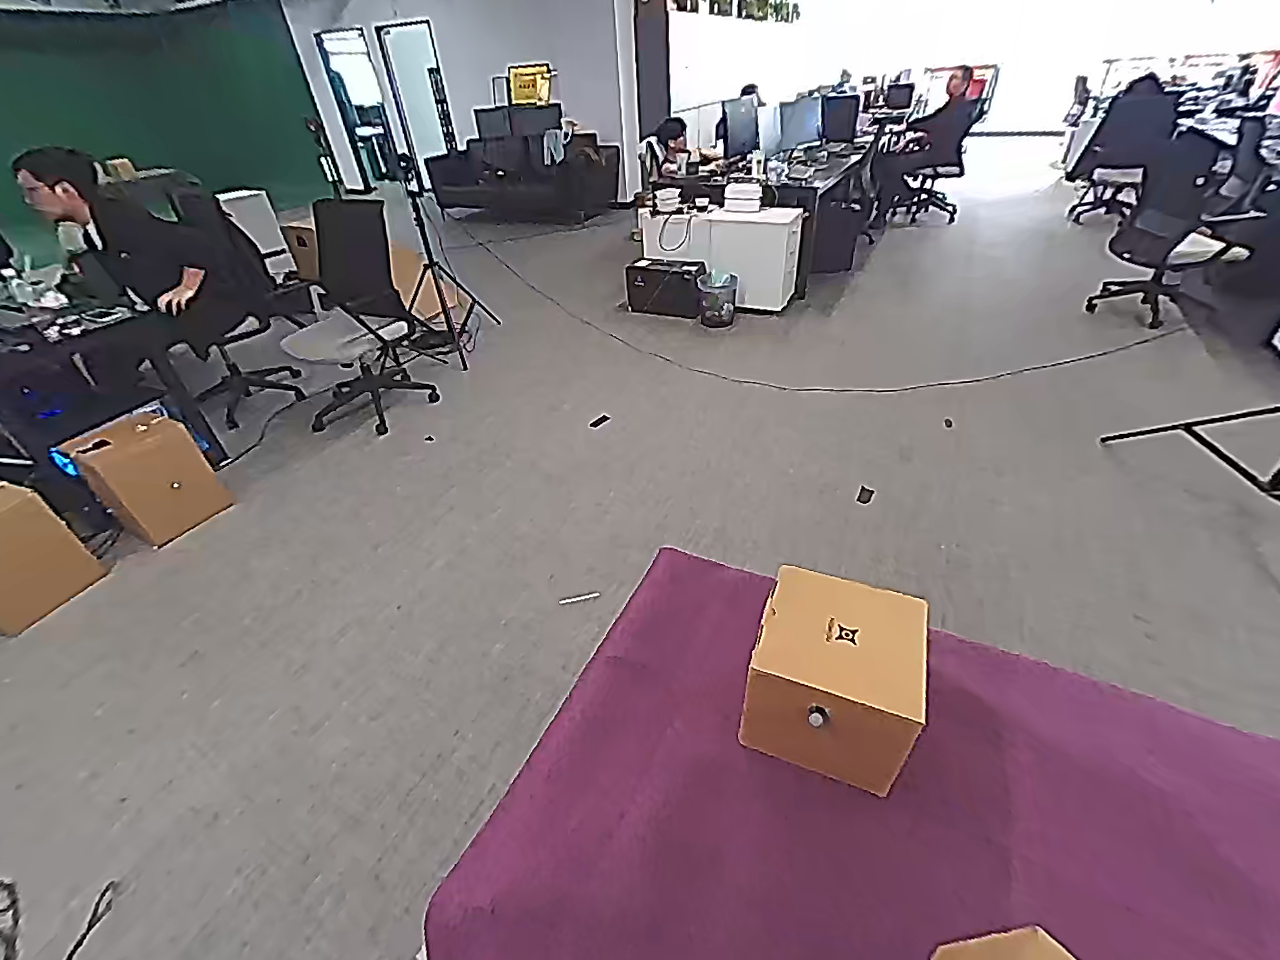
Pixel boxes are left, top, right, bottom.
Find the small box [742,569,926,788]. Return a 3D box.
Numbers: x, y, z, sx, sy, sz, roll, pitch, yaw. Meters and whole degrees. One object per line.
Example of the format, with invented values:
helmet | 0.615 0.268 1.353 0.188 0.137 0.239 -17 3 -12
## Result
small box | 0.233 0.243 0.663 0.179 0.176 0.168 12 40 20
